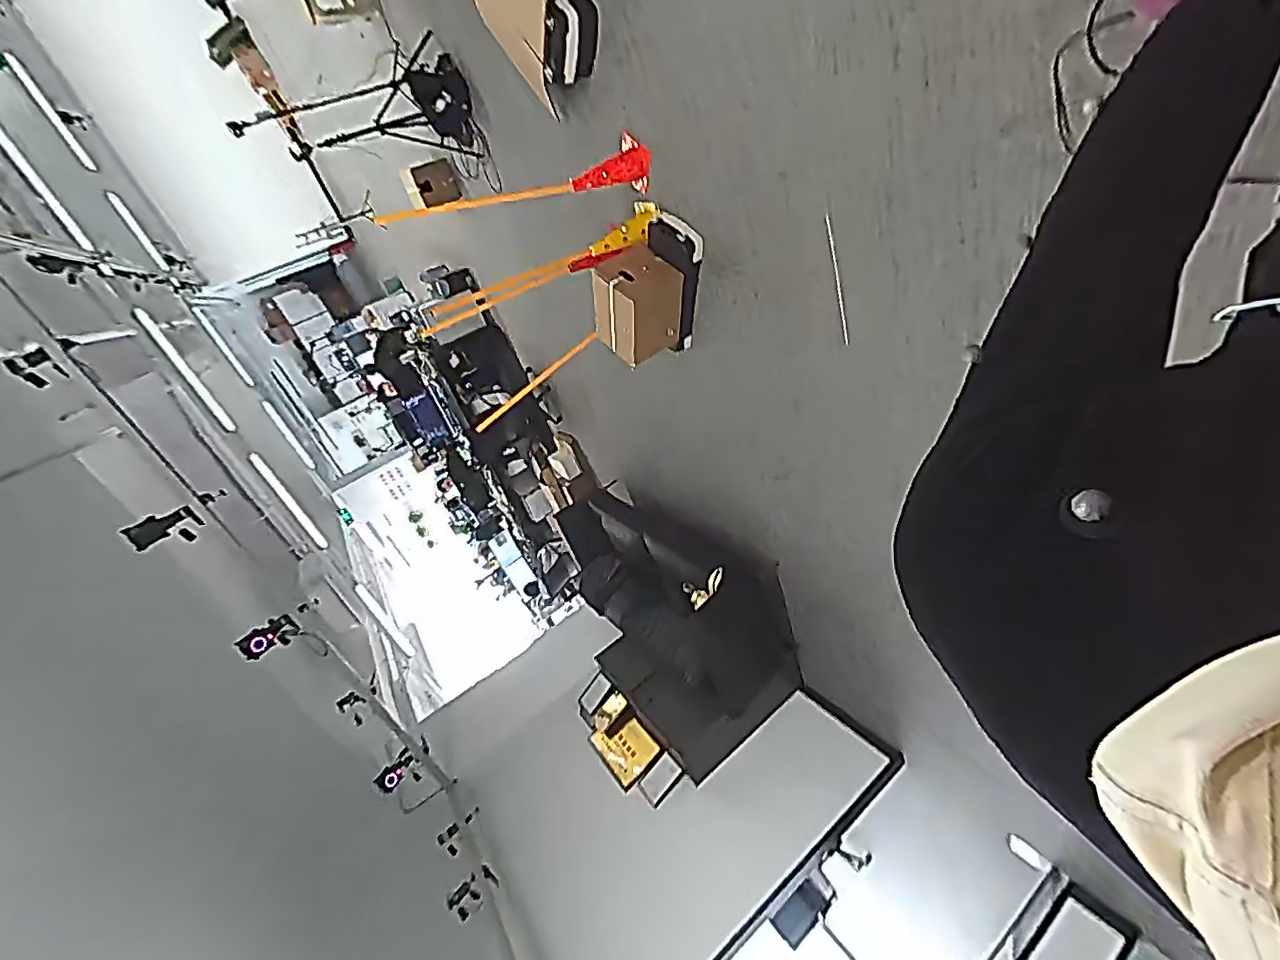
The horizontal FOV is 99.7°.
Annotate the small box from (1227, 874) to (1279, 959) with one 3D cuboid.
[{"bbox_3d":[1.552,1.088,1.272,0.168,0.176,0.179,31,146,53],"label":"small box"}]
